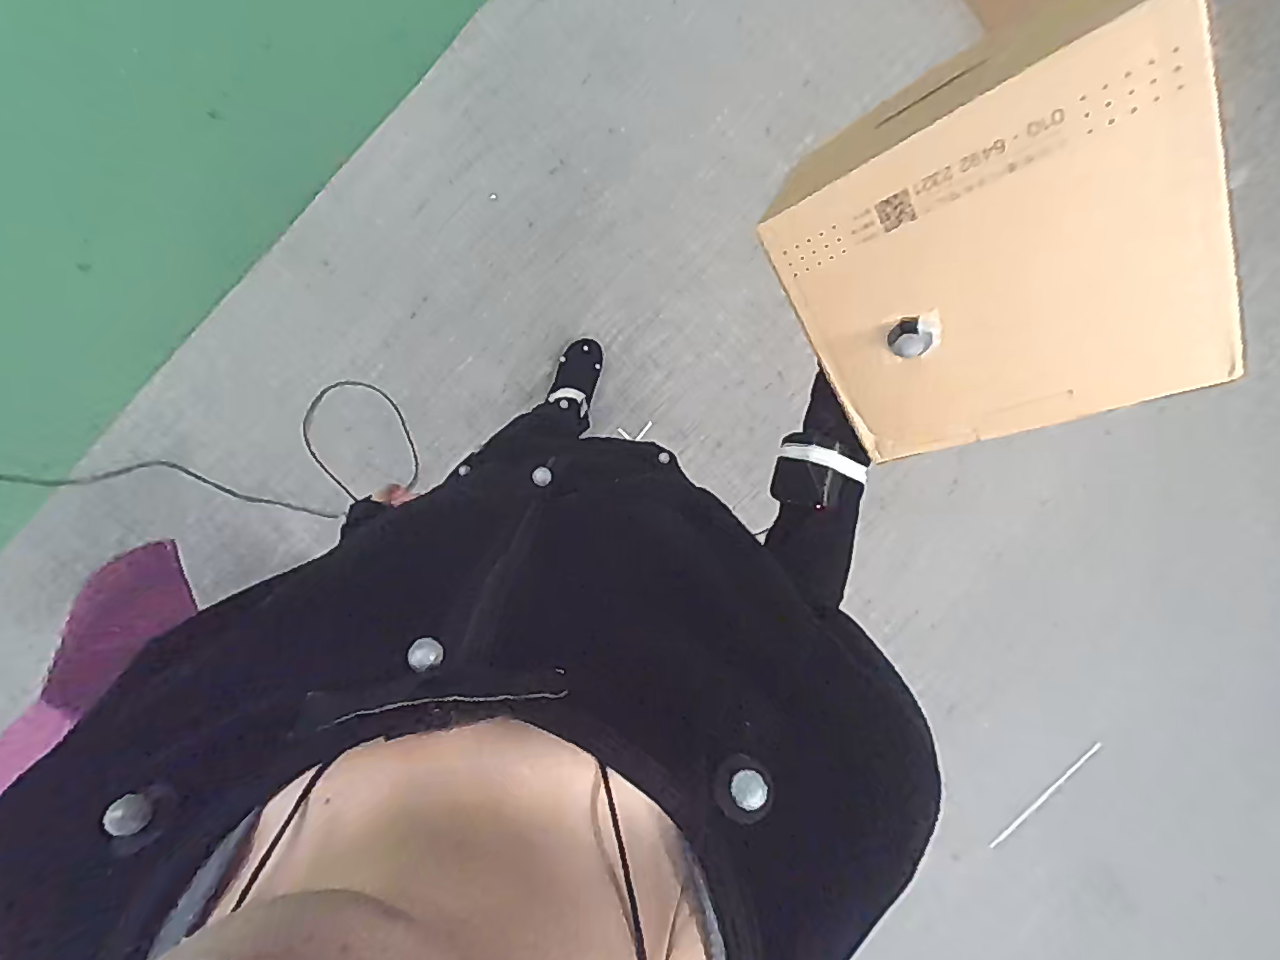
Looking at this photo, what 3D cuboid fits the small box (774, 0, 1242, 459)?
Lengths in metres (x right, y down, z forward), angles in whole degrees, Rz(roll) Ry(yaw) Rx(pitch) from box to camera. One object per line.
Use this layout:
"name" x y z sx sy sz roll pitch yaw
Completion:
"small box" 0.195 -0.145 0.317 0.168 0.179 0.176 -16 122 37
